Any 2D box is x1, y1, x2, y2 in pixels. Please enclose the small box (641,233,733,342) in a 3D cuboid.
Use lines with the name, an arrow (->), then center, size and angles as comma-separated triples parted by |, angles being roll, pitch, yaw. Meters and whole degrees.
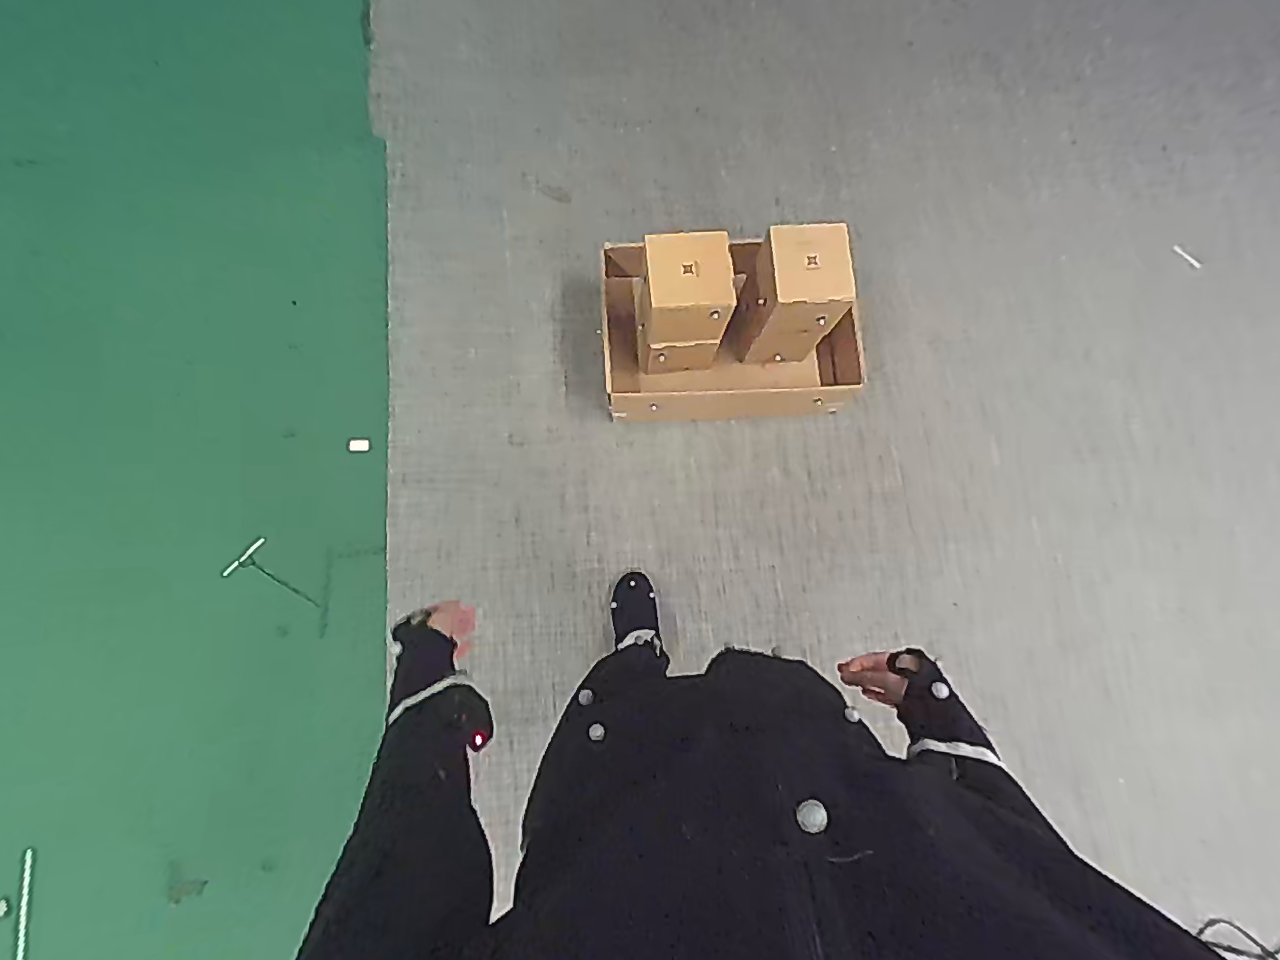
small box -> 0.095, -0.415, 1.187 | 0.179, 0.176, 0.168 | -5, 80, -4

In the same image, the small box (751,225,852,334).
small box -> 0.350, -0.435, 1.199 | 0.168, 0.176, 0.179 | -3, 80, -2
